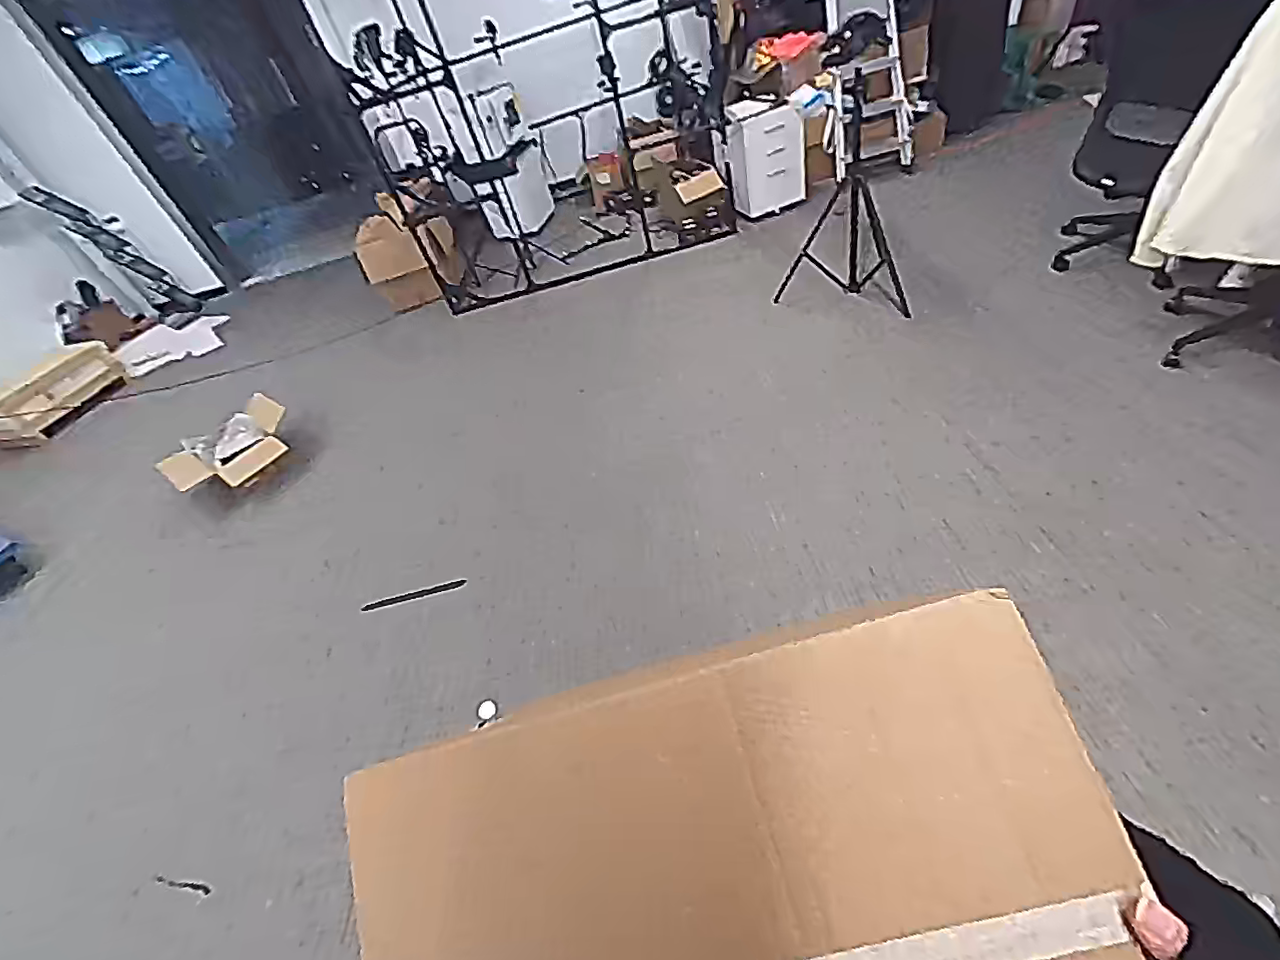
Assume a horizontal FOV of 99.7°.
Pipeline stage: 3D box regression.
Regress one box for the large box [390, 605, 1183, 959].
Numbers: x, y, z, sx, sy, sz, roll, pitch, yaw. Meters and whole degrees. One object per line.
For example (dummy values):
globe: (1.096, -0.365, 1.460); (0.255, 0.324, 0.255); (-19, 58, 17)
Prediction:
large box: (0.092, 0.311, 0.423); (0.408, 0.320, 0.320); (-18, 74, 5)
